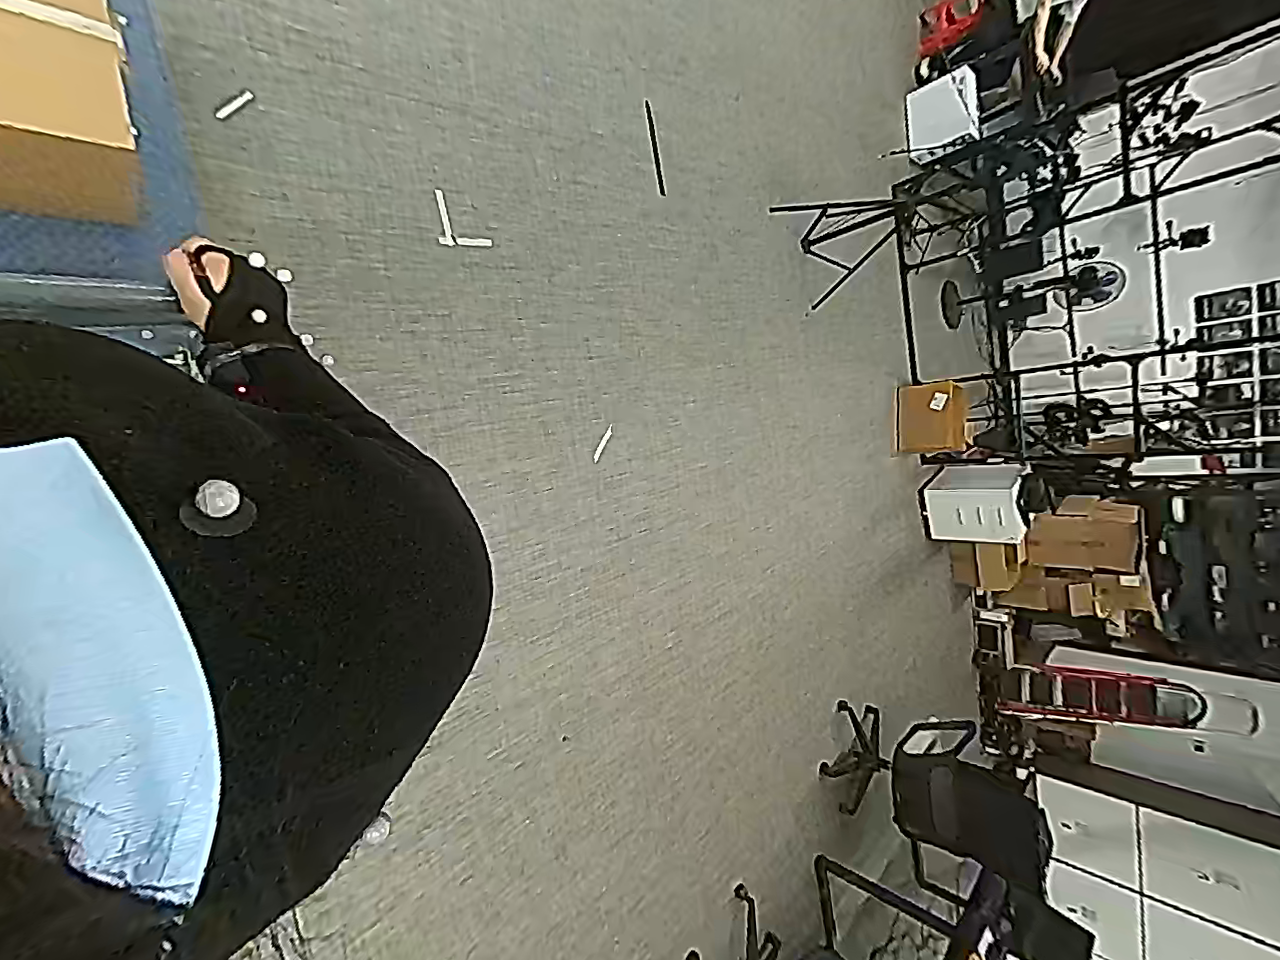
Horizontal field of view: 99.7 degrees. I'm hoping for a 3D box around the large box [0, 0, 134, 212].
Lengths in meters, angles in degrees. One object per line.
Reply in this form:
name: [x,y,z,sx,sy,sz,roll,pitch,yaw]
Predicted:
large box: [-0.993,-0.603,0.734,0.408,0.320,0.320,-12,96,-42]
